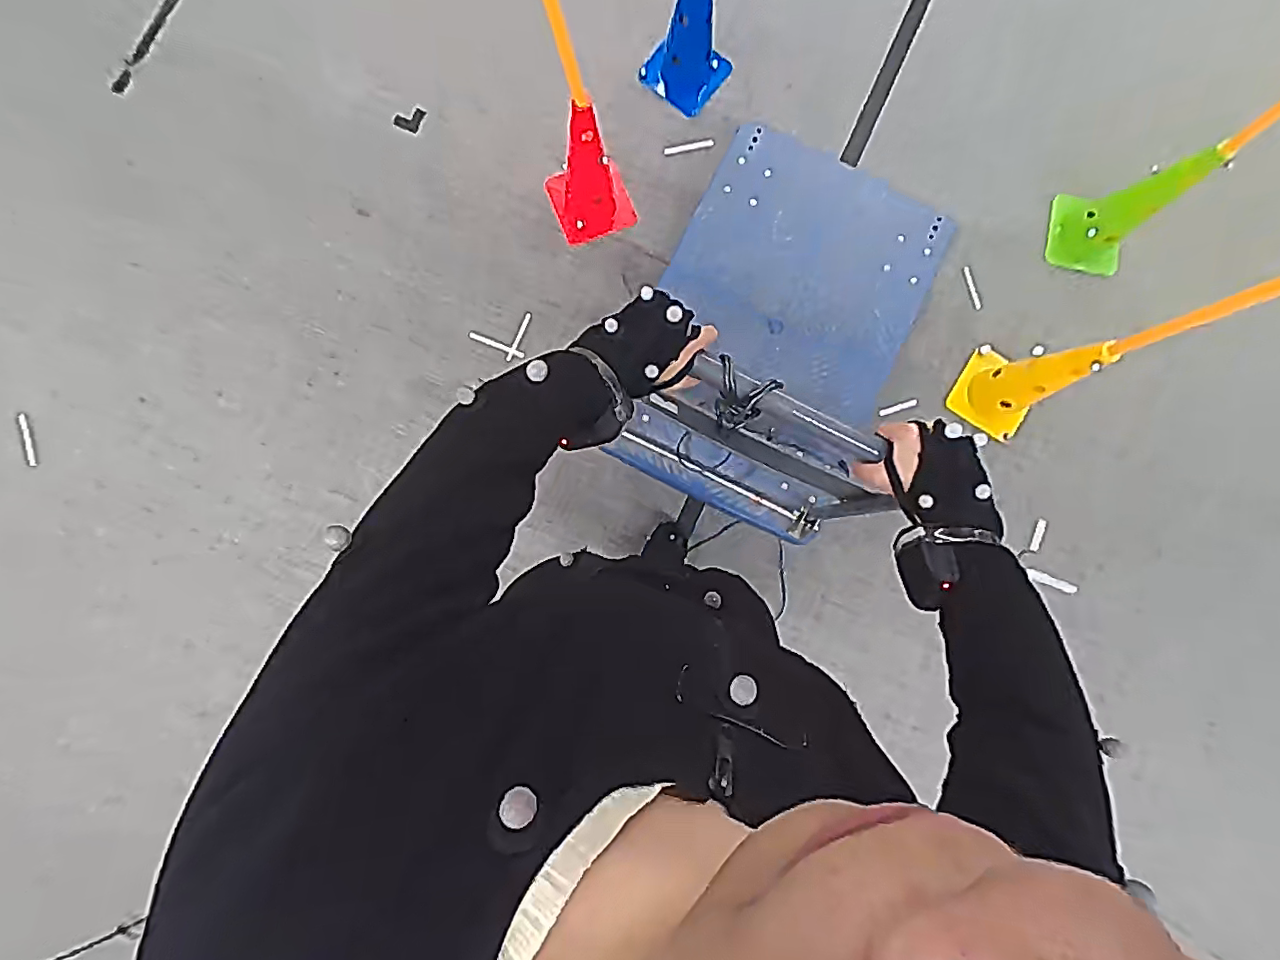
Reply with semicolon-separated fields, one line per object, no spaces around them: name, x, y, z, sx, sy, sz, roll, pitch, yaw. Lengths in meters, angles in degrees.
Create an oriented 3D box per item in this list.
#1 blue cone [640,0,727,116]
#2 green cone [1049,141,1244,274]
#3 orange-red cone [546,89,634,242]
blue cone;0.125;-1.118;1.310;0.193;0.380;0.192;39;86;1
green cone;1.222;-0.678;1.295;0.200;0.368;0.202;10;87;-1
orange-red cone;-0.124;-0.755;1.258;0.199;0.360;0.198;-21;87;-5
